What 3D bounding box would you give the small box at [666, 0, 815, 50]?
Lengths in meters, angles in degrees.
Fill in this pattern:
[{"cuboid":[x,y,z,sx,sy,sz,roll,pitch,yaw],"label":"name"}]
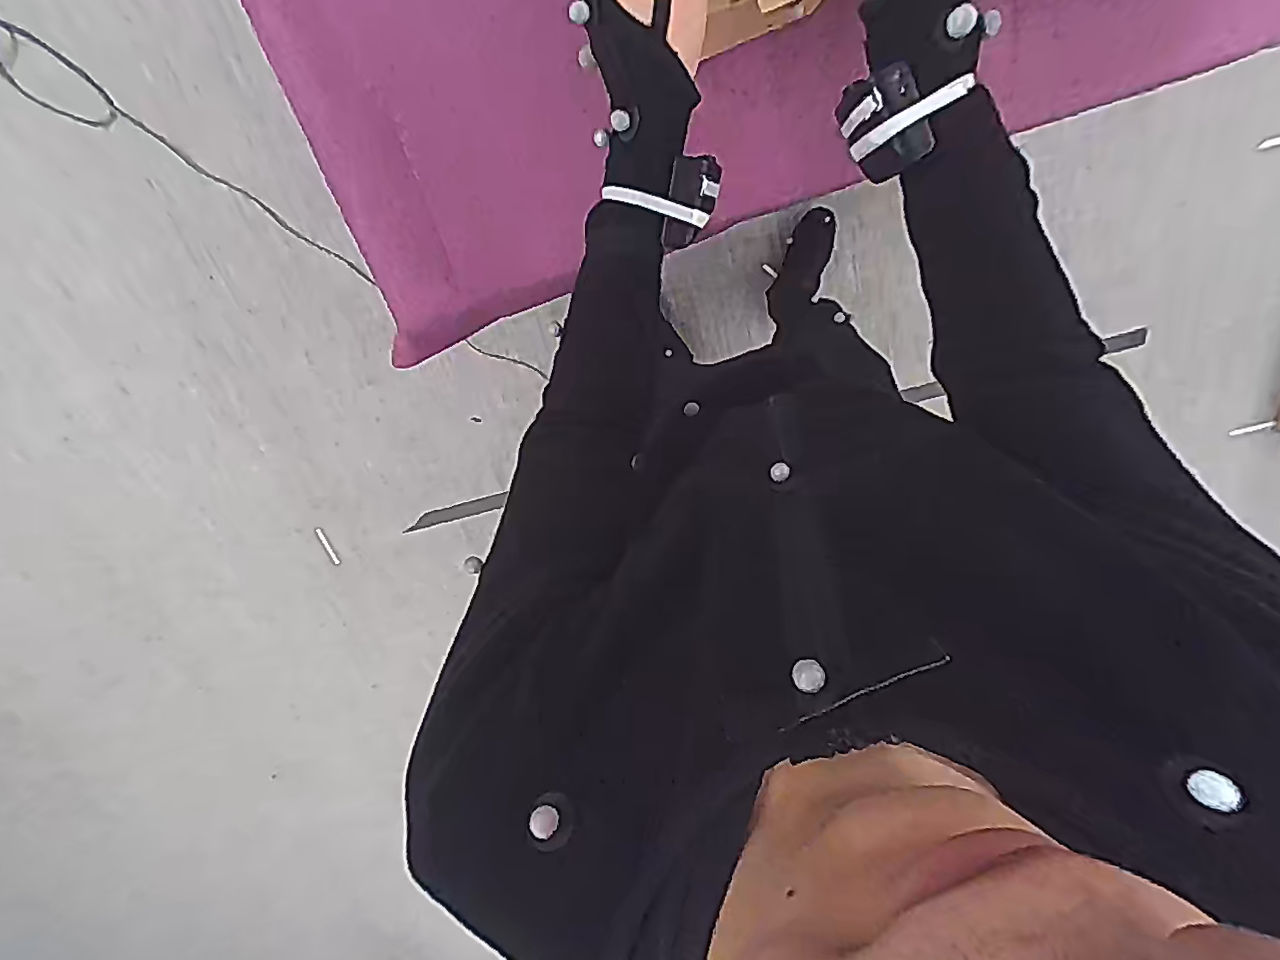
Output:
[{"cuboid":[0.103,-0.571,0.541,0.168,0.176,0.179,-18,113,7],"label":"small box"}]
